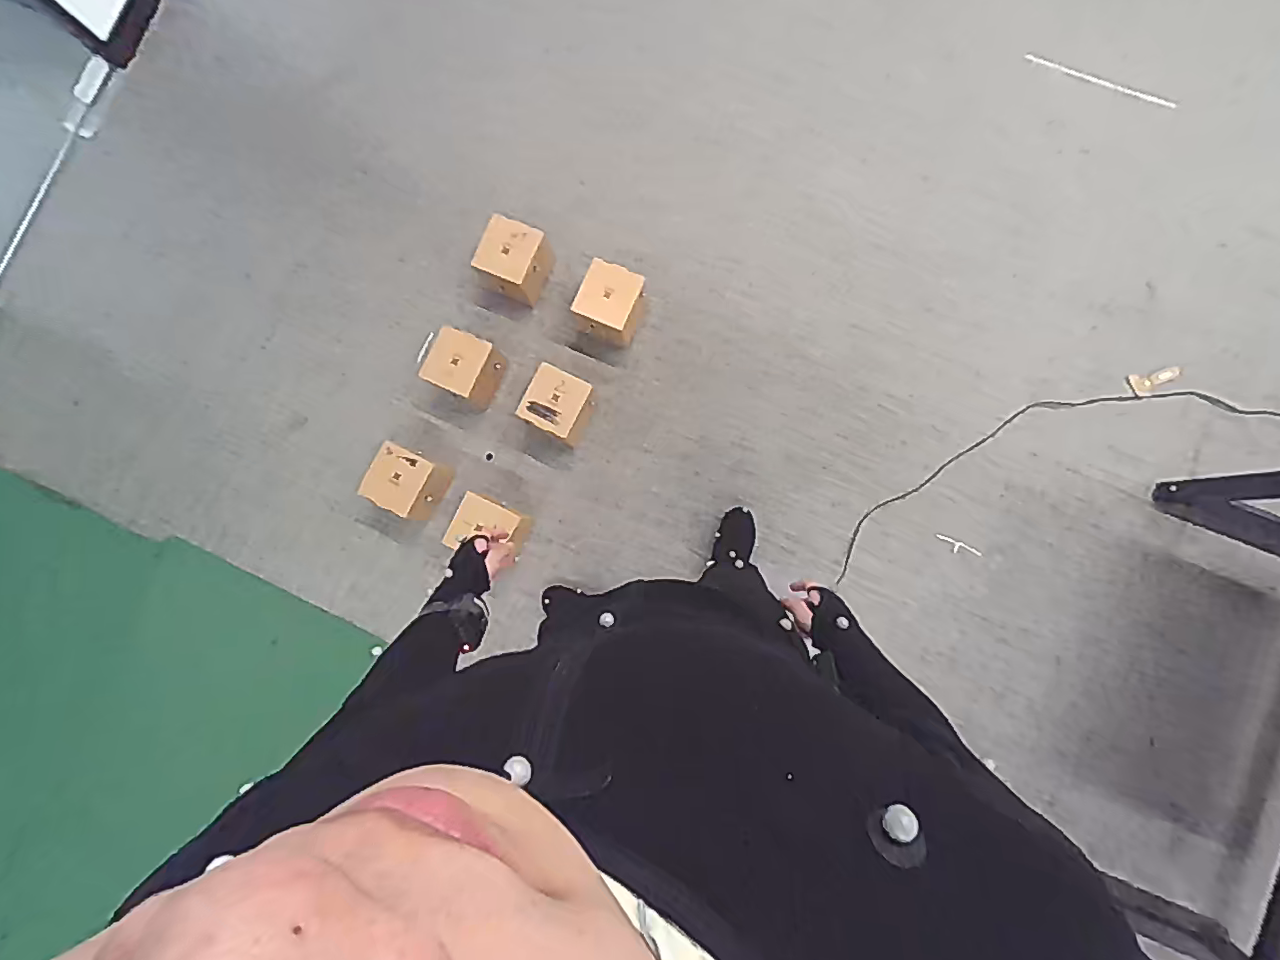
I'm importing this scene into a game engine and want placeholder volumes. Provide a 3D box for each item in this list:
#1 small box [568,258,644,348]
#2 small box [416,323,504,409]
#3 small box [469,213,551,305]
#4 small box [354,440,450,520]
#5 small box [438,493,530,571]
[{"bbox_3d":[-0.093,-0.522,1.619,0.168,0.176,0.179,23,85,5],"label":"small box"},{"bbox_3d":[-0.529,-0.334,1.622,0.168,0.176,0.179,25,87,5],"label":"small box"},{"bbox_3d":[-0.385,-0.661,1.643,0.168,0.176,0.179,24,86,4],"label":"small box"},{"bbox_3d":[-0.693,0.005,1.598,0.168,0.176,0.179,28,87,5],"label":"small box"},{"bbox_3d":[-0.442,0.149,1.571,0.179,0.176,0.168,26,86,6],"label":"small box"}]
